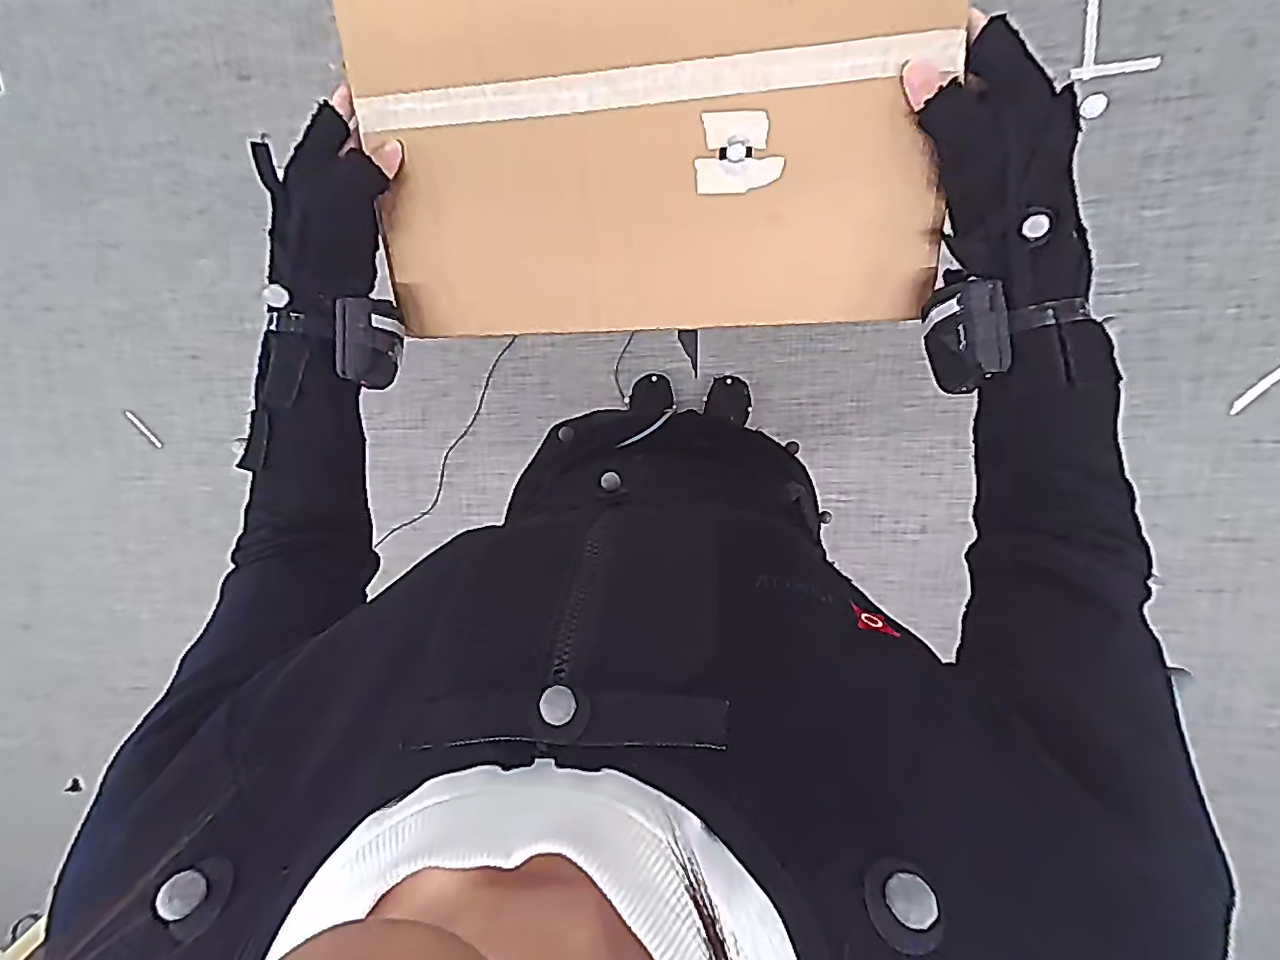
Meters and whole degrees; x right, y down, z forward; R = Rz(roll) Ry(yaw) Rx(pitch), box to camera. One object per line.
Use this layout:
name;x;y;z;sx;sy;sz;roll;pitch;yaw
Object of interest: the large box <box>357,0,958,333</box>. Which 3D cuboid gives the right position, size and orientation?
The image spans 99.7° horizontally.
large box;0.021;-0.322;0.510;0.408;0.320;0.320;0;111;8
